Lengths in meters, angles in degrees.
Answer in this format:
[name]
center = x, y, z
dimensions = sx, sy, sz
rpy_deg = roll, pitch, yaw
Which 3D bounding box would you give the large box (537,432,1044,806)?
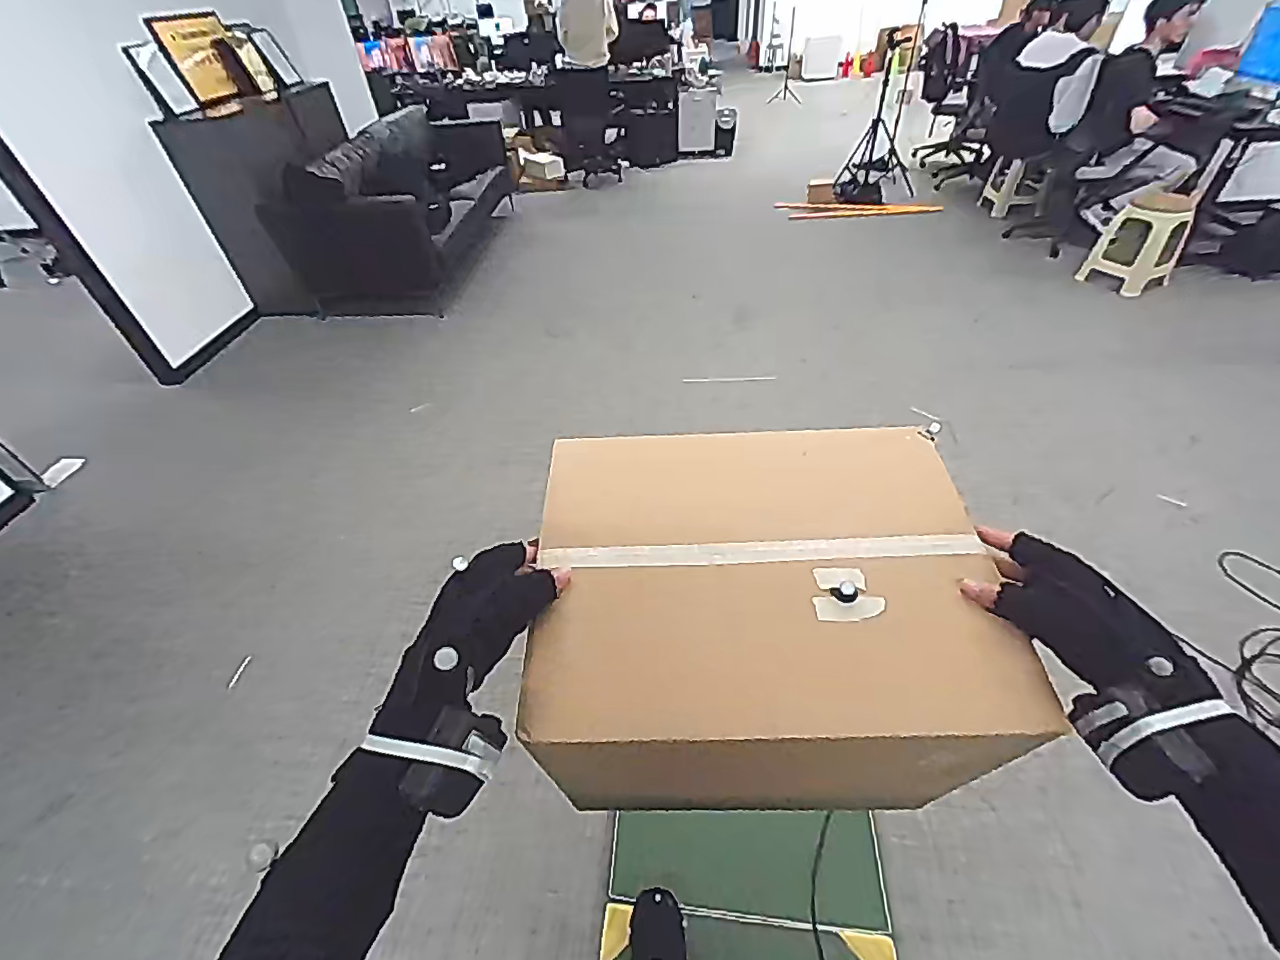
[large box]
center = 0.116, 0.167, 0.624
dimensions = 0.408, 0.320, 0.320
rpy_deg = -2, 51, 1
